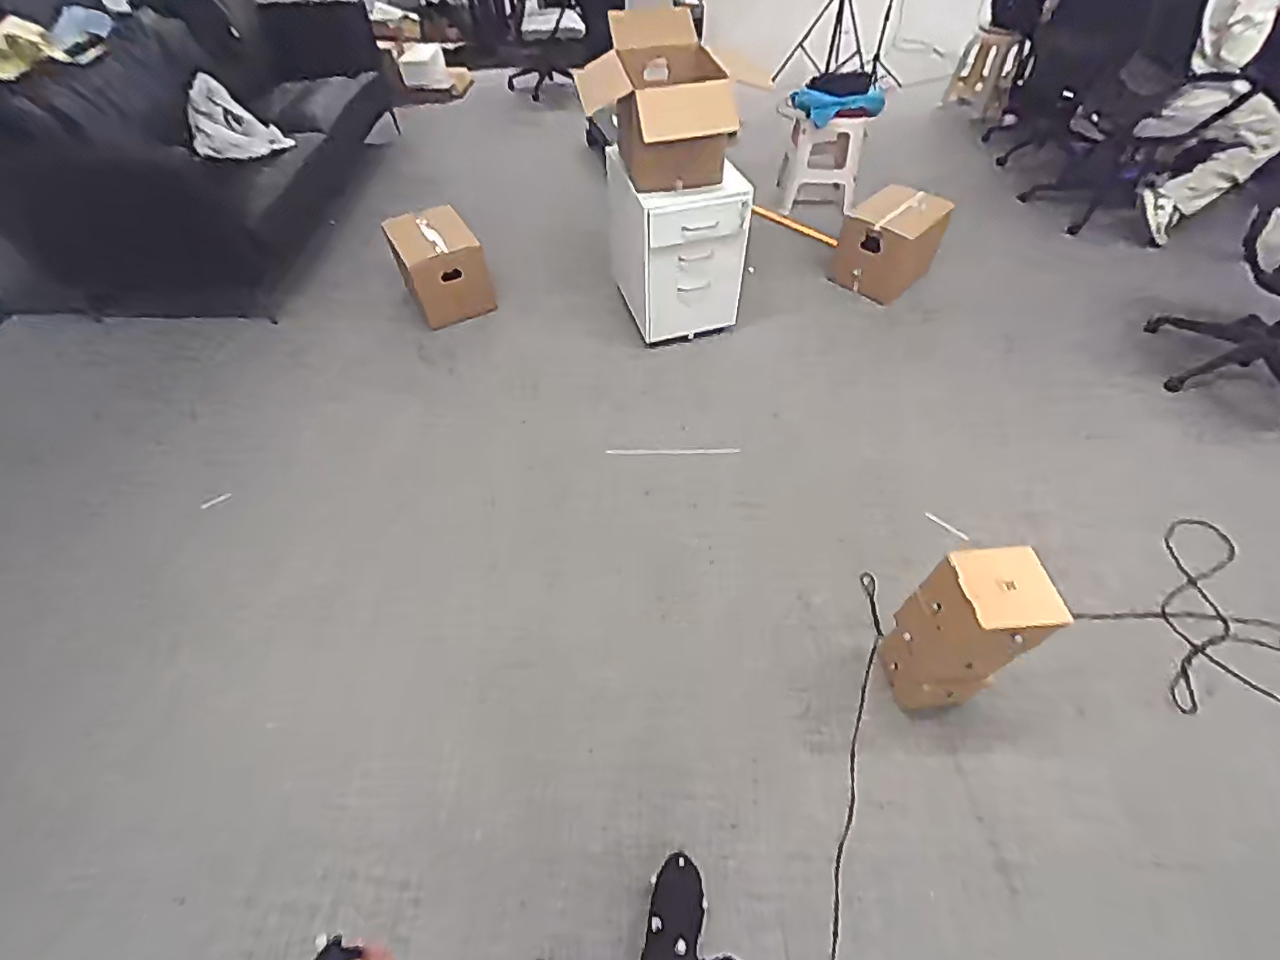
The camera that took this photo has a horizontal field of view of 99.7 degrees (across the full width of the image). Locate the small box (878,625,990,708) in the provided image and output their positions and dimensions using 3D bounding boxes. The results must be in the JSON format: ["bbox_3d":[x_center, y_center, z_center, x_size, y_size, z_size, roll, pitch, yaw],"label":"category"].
[{"bbox_3d":[0.724,0.462,1.361,0.179,0.176,0.168,-6,52,-3],"label":"small box"}]

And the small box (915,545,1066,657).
[{"bbox_3d":[0.706,0.251,1.113,0.179,0.176,0.168,-5,52,-1],"label":"small box"}]

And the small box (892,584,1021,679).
[{"bbox_3d":[0.715,0.347,1.244,0.179,0.176,0.168,-4,51,0],"label":"small box"}]
